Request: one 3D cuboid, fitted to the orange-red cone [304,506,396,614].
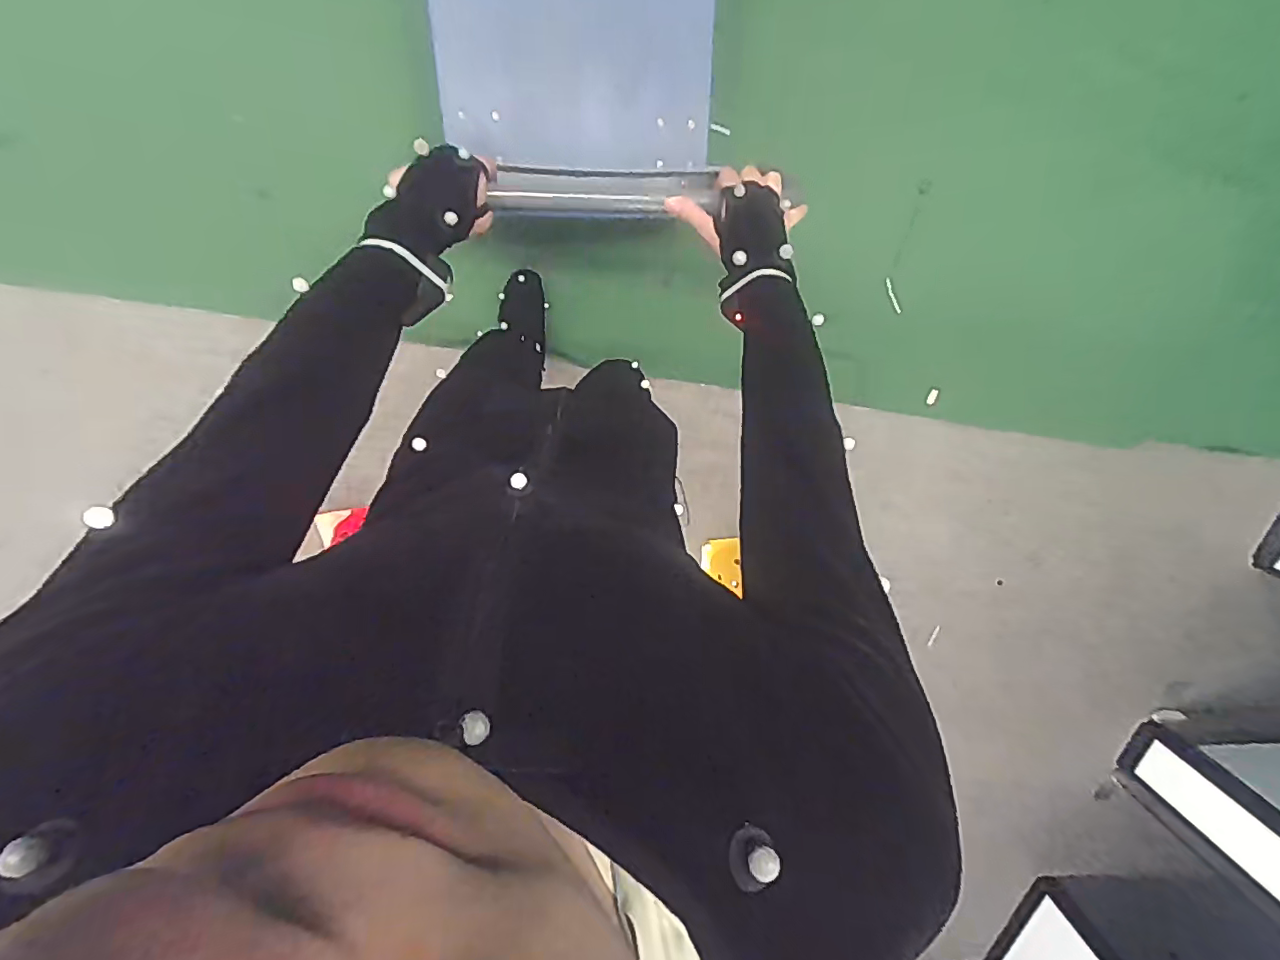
[{"bbox_3d":[-0.816,0.240,1.453,0.199,0.360,0.198,-7,114,-6],"label":"orange-red cone"}]
